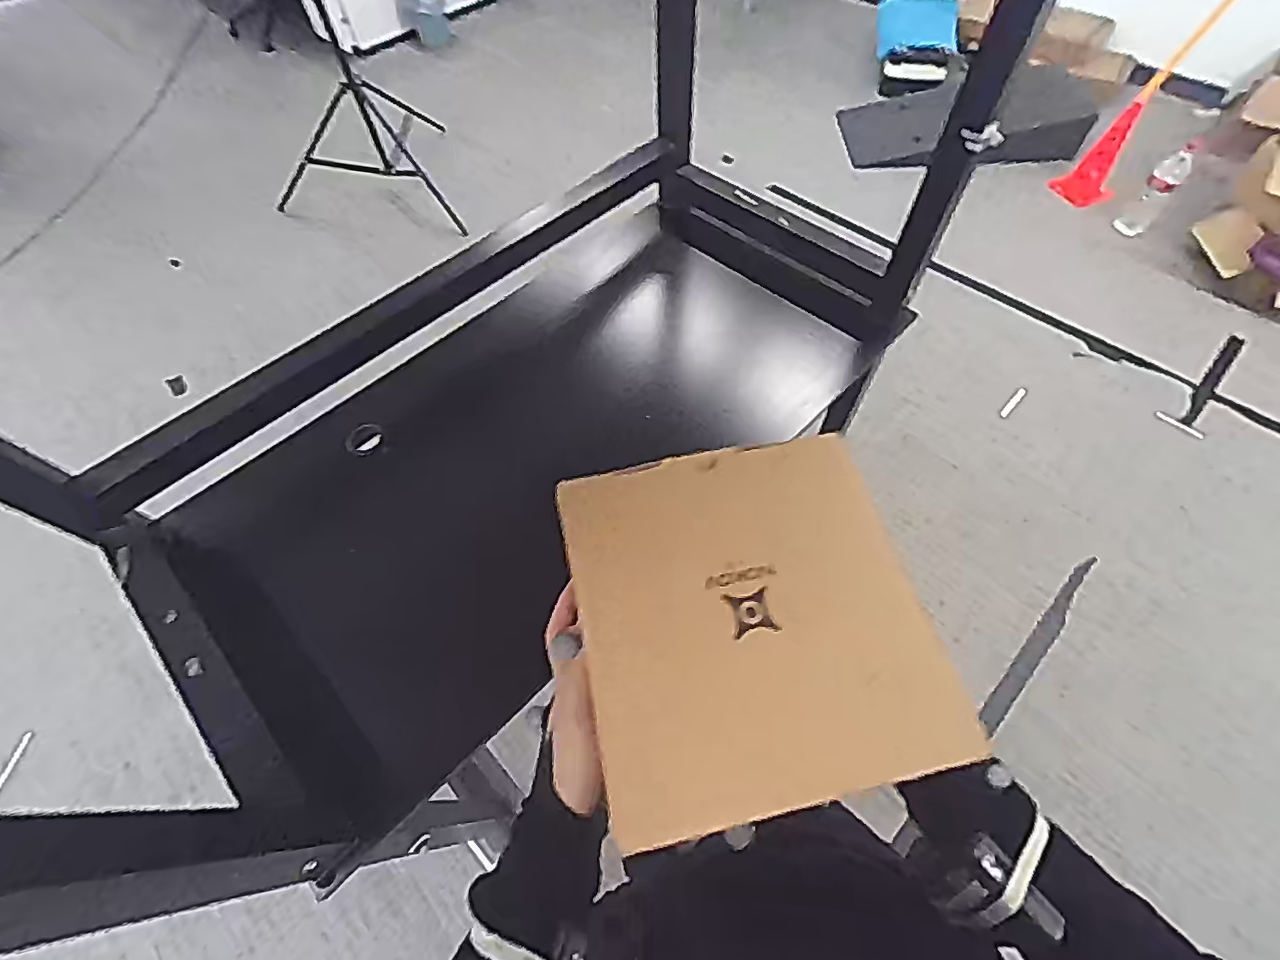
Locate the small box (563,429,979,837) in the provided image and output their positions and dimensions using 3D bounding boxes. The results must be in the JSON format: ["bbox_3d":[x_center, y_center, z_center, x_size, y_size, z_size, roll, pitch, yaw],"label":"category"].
[{"bbox_3d":[0.053,0.097,0.335,0.168,0.176,0.179,-10,59,-6],"label":"small box"}]
